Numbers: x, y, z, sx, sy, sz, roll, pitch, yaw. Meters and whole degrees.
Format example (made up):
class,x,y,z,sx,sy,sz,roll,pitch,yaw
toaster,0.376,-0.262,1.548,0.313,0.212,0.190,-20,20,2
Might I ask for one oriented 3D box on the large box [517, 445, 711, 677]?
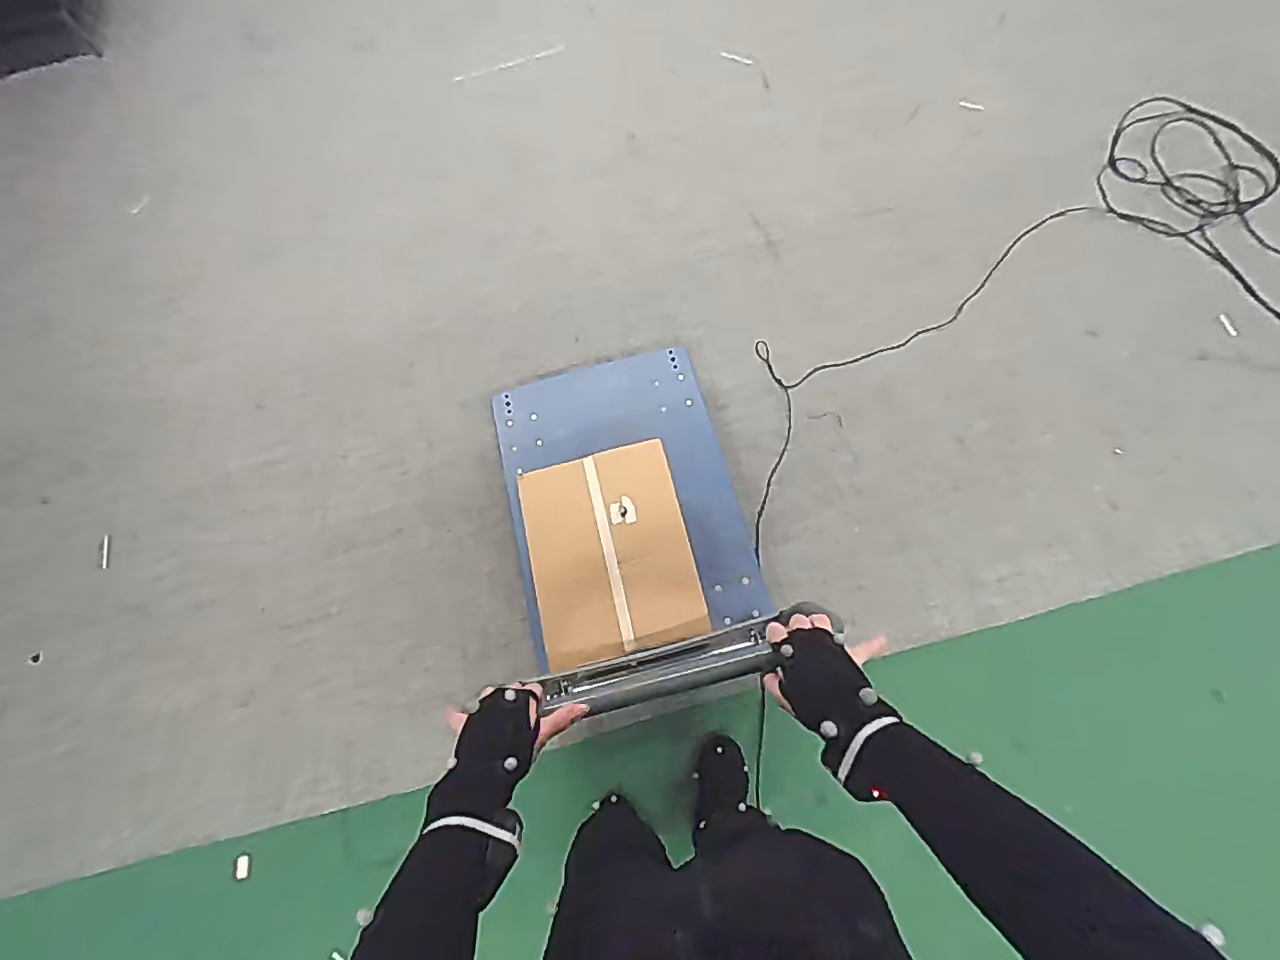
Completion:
class,x,y,z,sx,sy,sz,roll,pitch,yaw
large box,-0.047,0.194,1.205,0.320,0.320,0.408,-15,70,0
